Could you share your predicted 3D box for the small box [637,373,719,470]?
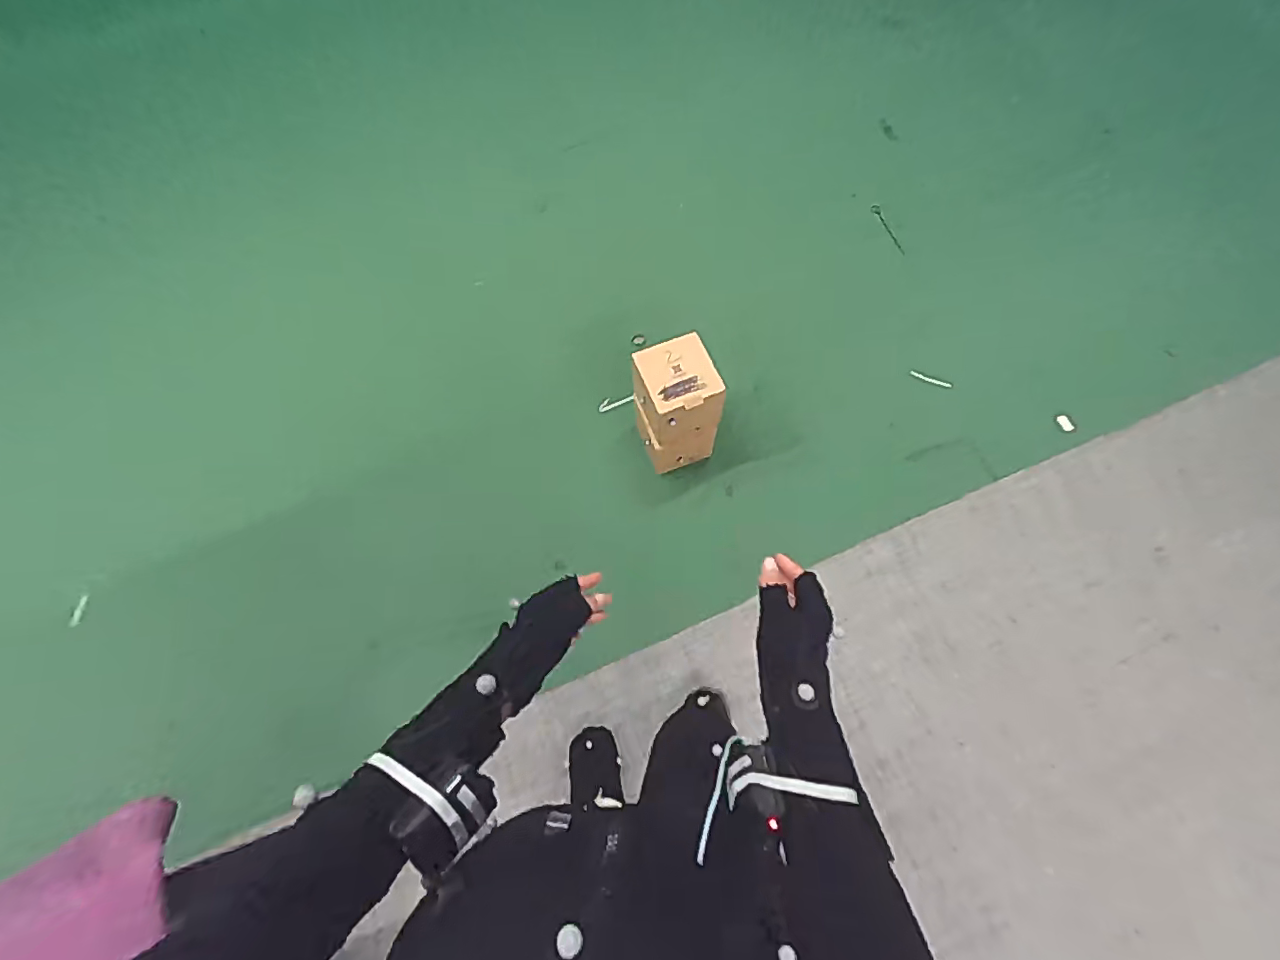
[{"bbox_3d":[0.097,-0.154,1.459,0.168,0.176,0.179,-20,70,-5],"label":"small box"}]
